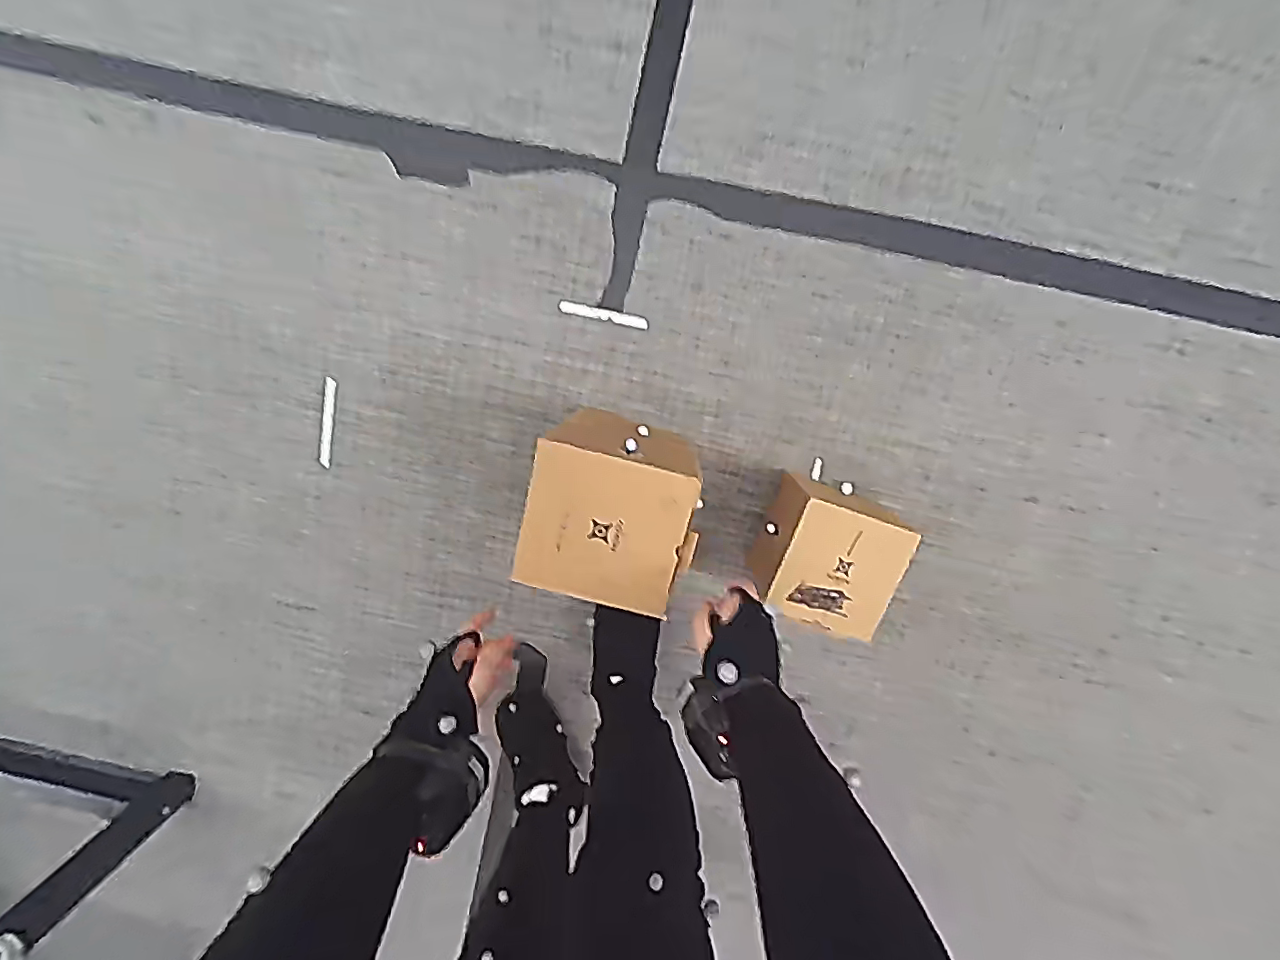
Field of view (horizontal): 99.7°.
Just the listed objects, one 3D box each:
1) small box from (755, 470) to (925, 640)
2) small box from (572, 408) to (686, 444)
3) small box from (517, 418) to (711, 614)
[{"bbox_3d":[0.285,0.104,0.822,0.168,0.176,0.179,19,104,-2],"label":"small box"},{"bbox_3d":[-0.031,0.000,0.810,0.179,0.176,0.168,19,104,-3],"label":"small box"},{"bbox_3d":[-0.026,0.031,0.648,0.179,0.176,0.168,15,104,0],"label":"small box"}]
